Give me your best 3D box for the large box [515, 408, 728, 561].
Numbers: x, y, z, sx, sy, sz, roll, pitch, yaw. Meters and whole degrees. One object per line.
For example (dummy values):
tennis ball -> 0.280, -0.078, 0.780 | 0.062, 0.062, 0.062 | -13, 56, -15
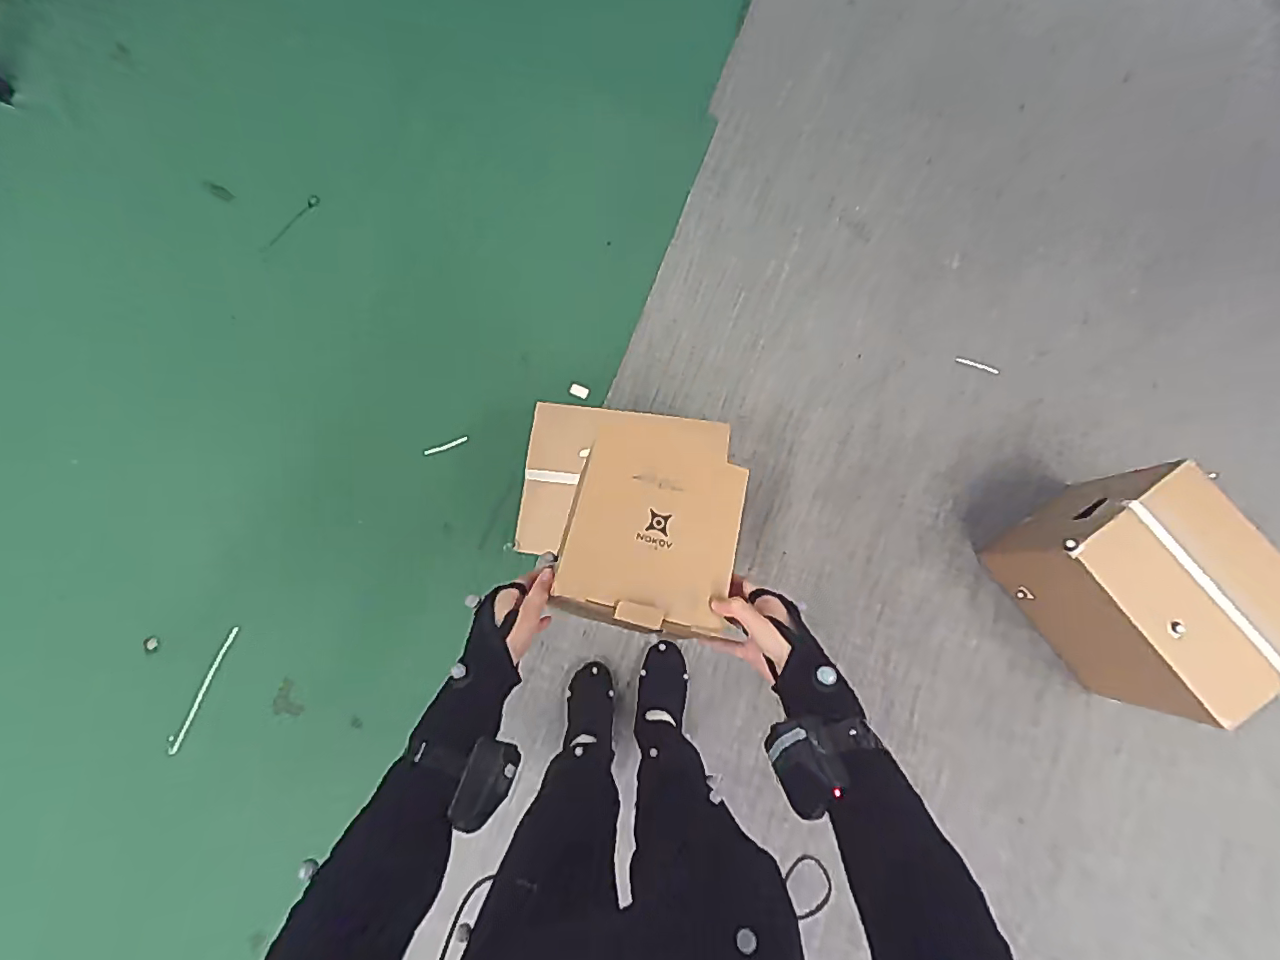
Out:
large box -> -0.025, 0.045, 1.222 | 0.408, 0.320, 0.320 | 6, 79, 4

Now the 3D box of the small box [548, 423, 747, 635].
small box -> -0.001, 0.067, 0.602 | 0.168, 0.176, 0.179 | 17, 69, -8
